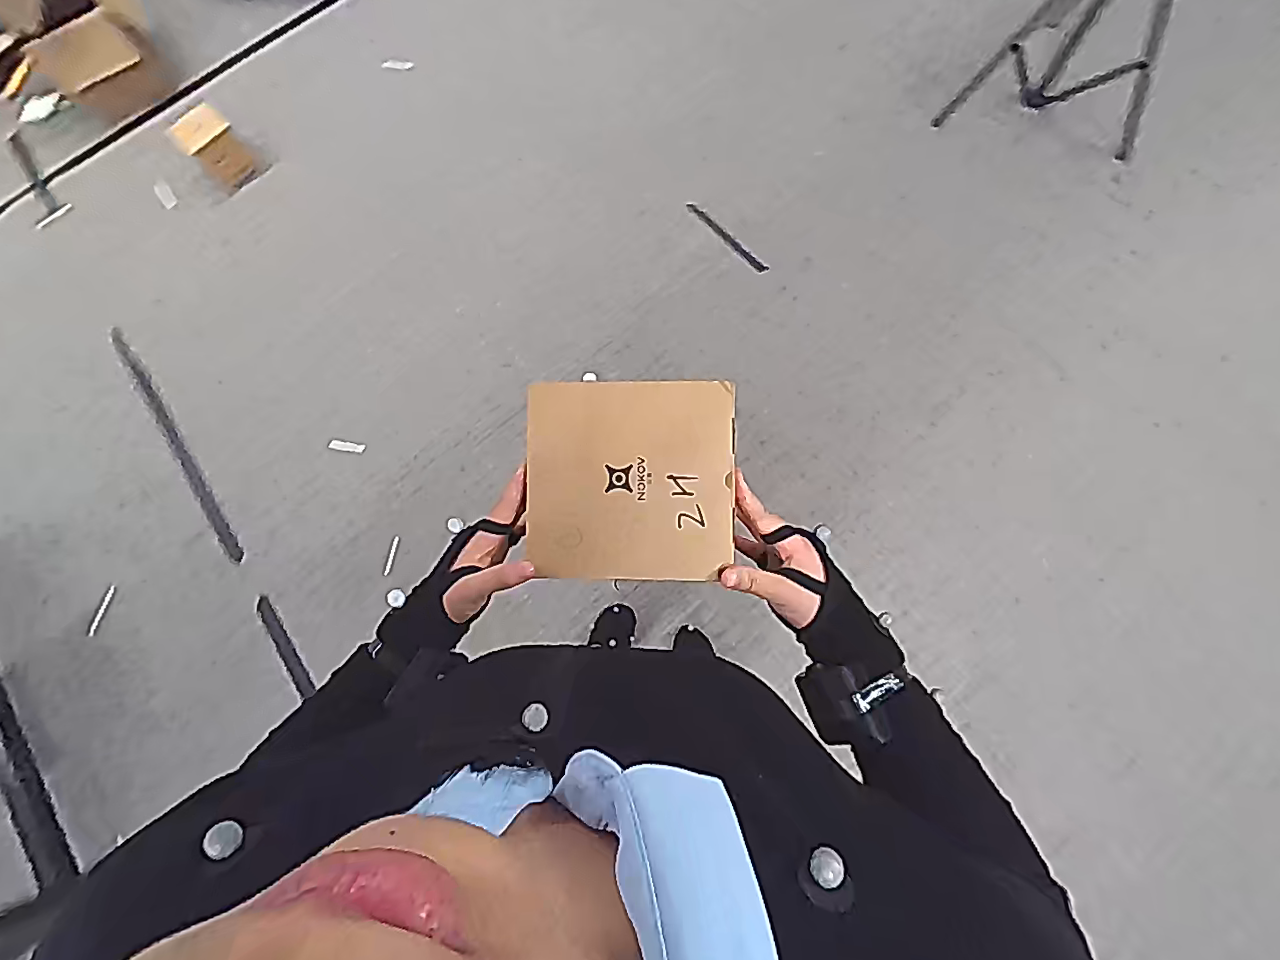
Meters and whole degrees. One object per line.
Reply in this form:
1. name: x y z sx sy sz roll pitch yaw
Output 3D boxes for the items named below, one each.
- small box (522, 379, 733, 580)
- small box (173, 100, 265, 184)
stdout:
1. small box: -0.005 0.001 0.522 0.179 0.176 0.168 -1 89 4
2. small box: -1.537 -1.230 1.984 0.179 0.176 0.168 43 82 15
